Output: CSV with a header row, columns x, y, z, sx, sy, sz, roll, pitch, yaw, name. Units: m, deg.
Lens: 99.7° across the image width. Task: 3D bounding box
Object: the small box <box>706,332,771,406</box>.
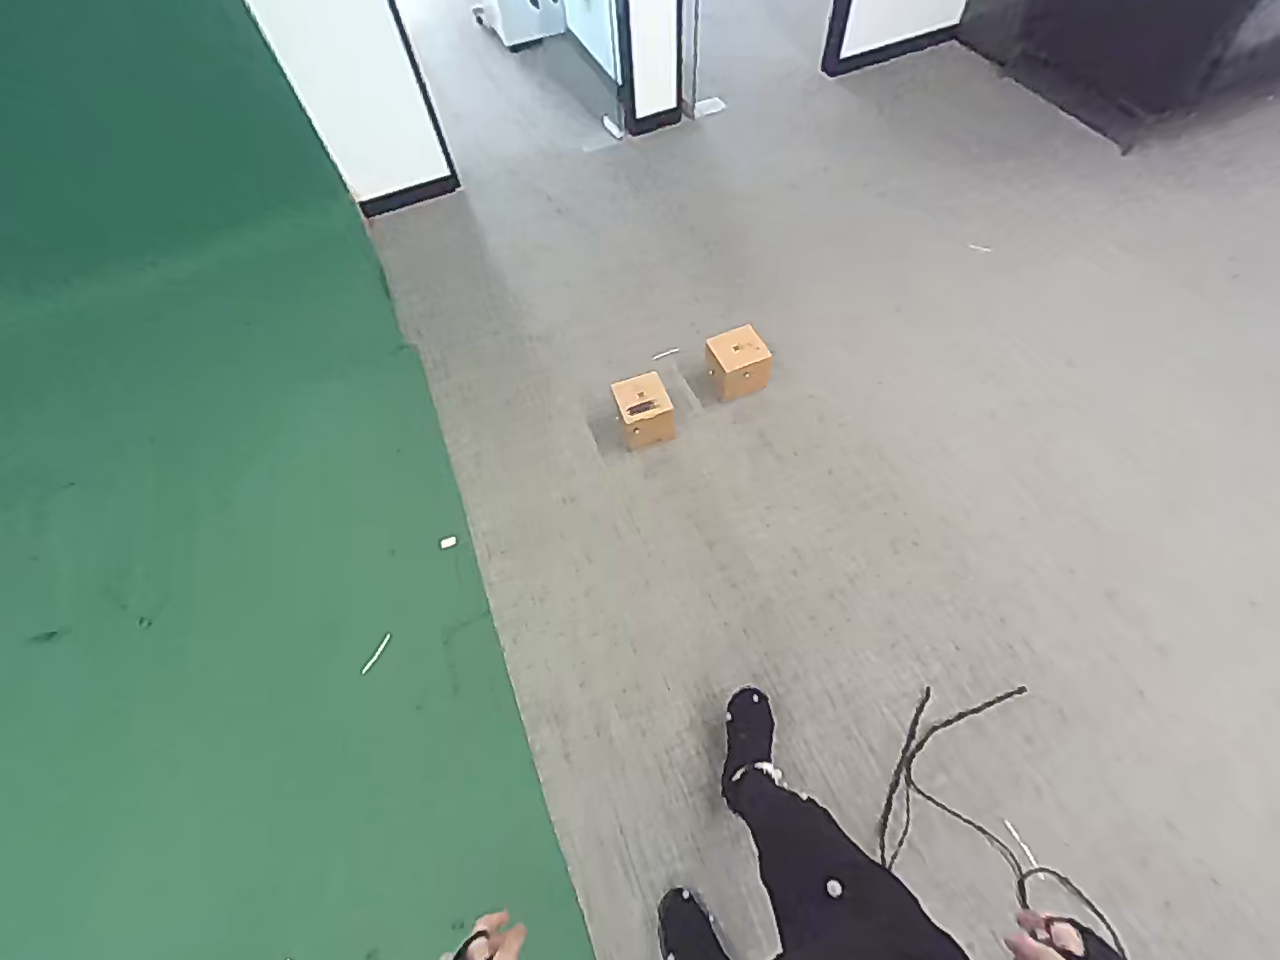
x,y,z,sx,sy,sz,roll,pitch,yaw,name
0.343,-0.390,1.923,0.179,0.176,0.168,-21,61,-9,small box
